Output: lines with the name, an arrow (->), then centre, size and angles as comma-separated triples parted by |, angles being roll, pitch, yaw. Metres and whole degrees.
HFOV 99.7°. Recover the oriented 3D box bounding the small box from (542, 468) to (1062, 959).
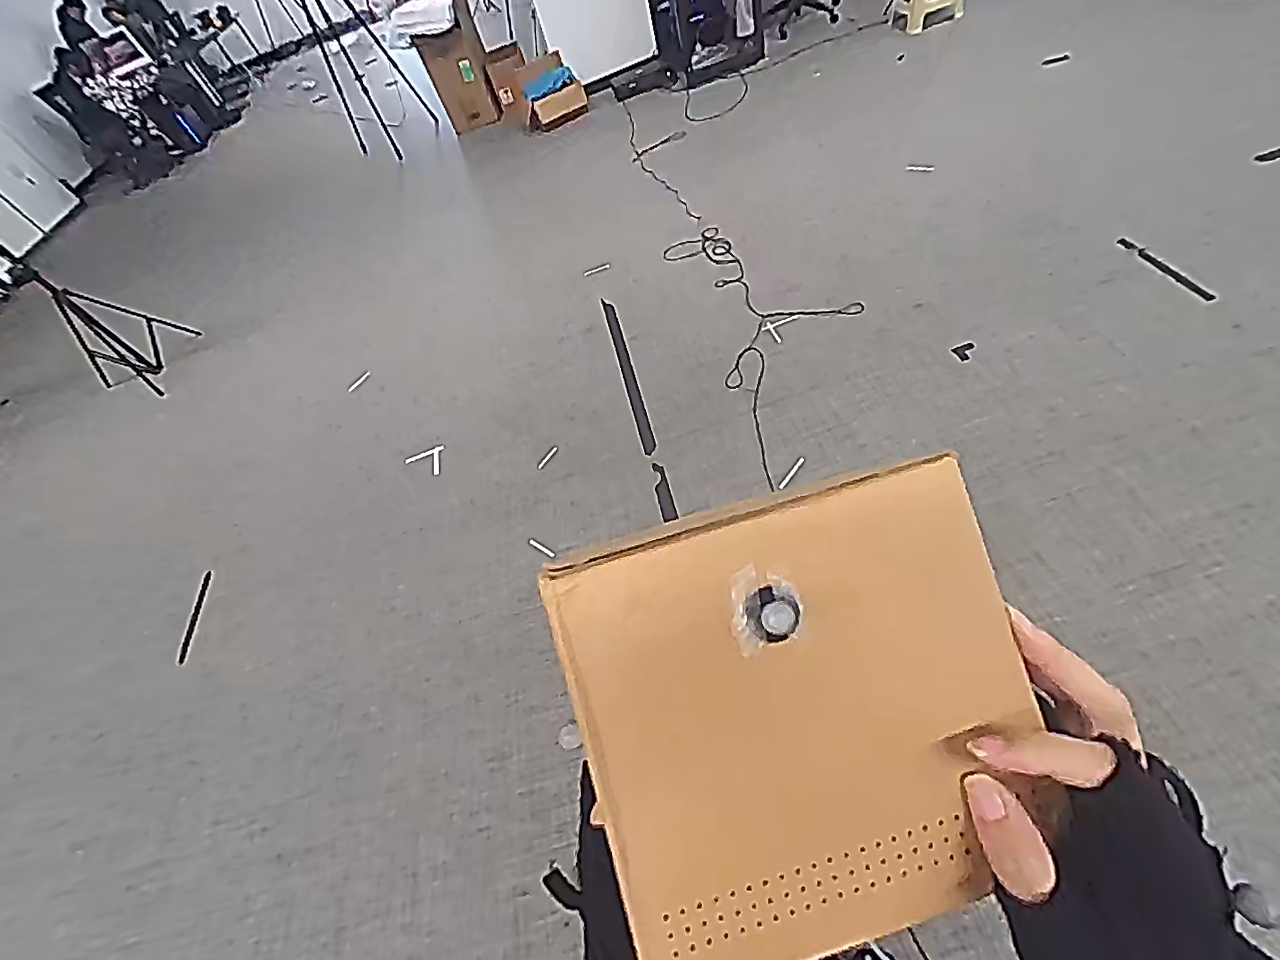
small box -> 0.064, 0.105, 0.286 | 0.179, 0.168, 0.176 | -16, 86, -4
